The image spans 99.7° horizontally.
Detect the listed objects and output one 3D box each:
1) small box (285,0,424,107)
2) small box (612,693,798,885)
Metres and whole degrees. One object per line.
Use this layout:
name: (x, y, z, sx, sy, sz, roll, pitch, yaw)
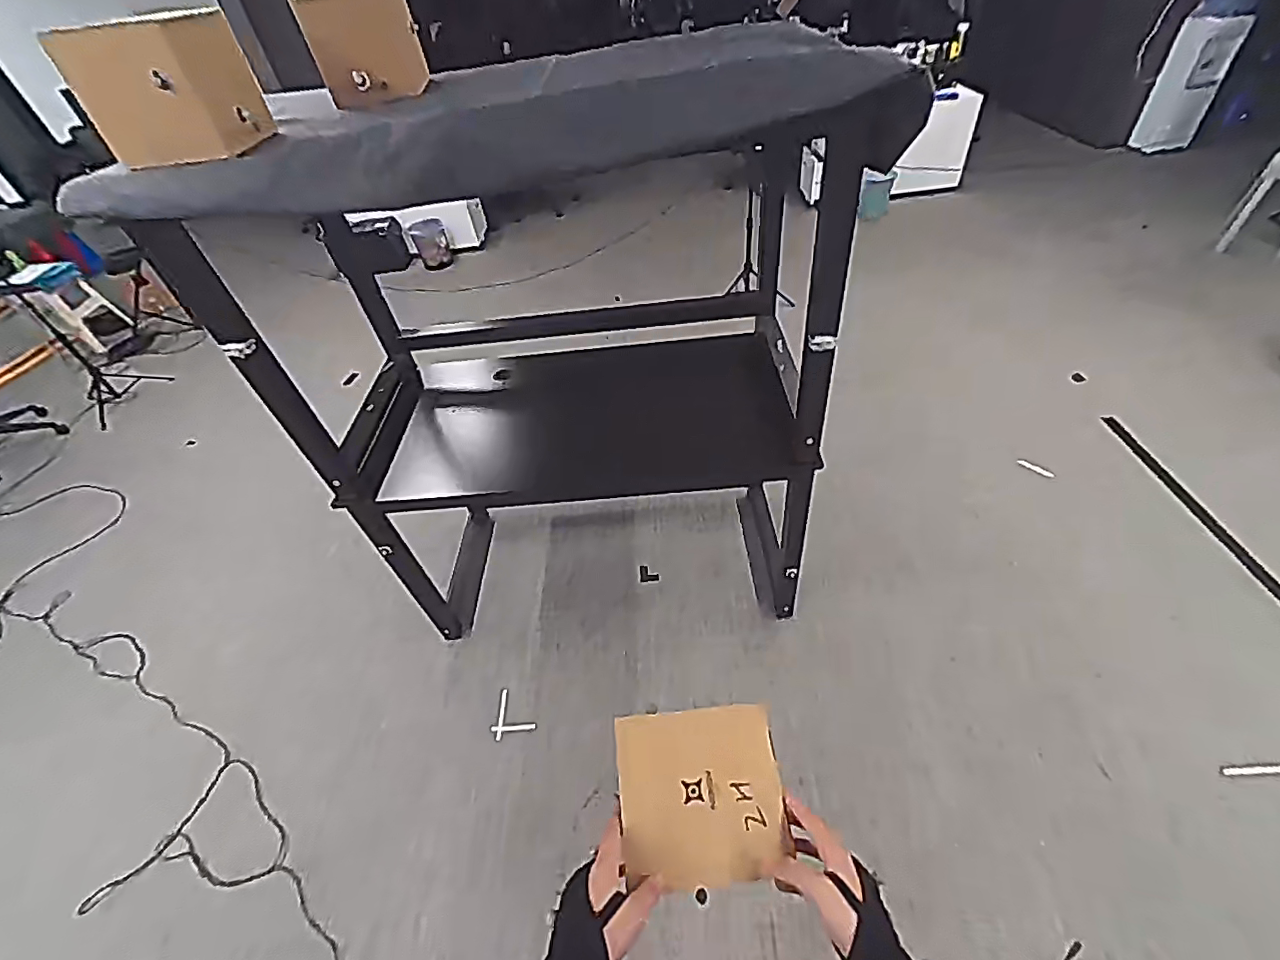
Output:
small box: (-0.535, -0.843, 1.044, 0.168, 0.176, 0.179, -11, 45, 0)
small box: (0.063, 0.360, 0.633, 0.179, 0.176, 0.168, -5, 58, -3)
